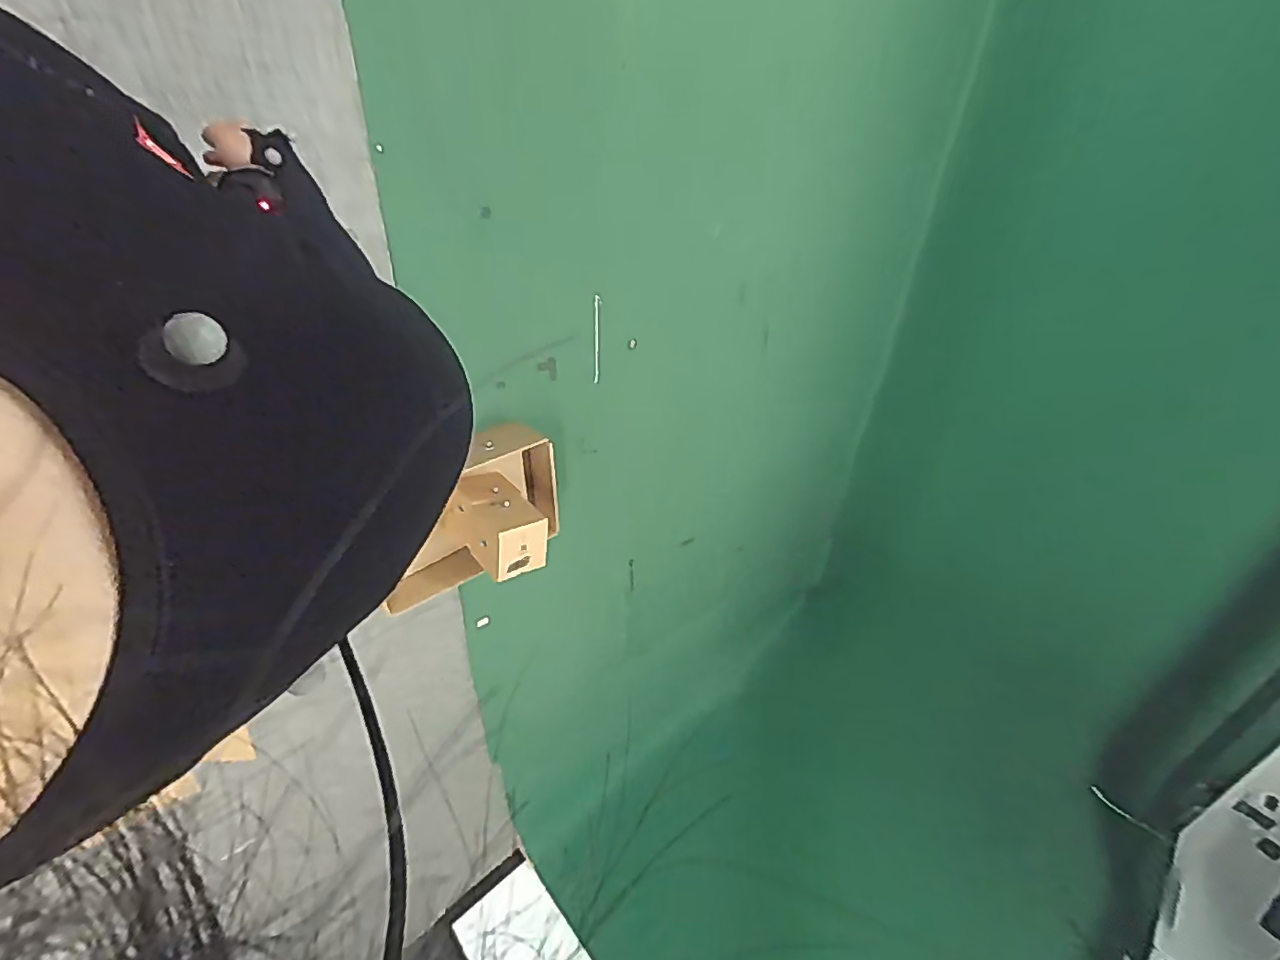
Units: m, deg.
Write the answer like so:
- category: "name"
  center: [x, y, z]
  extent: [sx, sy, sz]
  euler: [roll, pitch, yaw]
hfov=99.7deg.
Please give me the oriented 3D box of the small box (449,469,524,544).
- category: "small box"
  center: [-0.499, 0.080, 1.741]
  extent: [0.179, 0.176, 0.168]
  euler: [-12, 125, -41]

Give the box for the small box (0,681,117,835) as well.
- category: "small box"
  center: [-1.190, 0.538, 1.070]
  extent: [0.179, 0.176, 0.168]
  euler: [-23, 128, -36]

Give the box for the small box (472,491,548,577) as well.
- category: "small box"
  center: [-0.397, 0.159, 1.637]
  extent: [0.168, 0.176, 0.179]
  euler: [-16, 126, -40]
